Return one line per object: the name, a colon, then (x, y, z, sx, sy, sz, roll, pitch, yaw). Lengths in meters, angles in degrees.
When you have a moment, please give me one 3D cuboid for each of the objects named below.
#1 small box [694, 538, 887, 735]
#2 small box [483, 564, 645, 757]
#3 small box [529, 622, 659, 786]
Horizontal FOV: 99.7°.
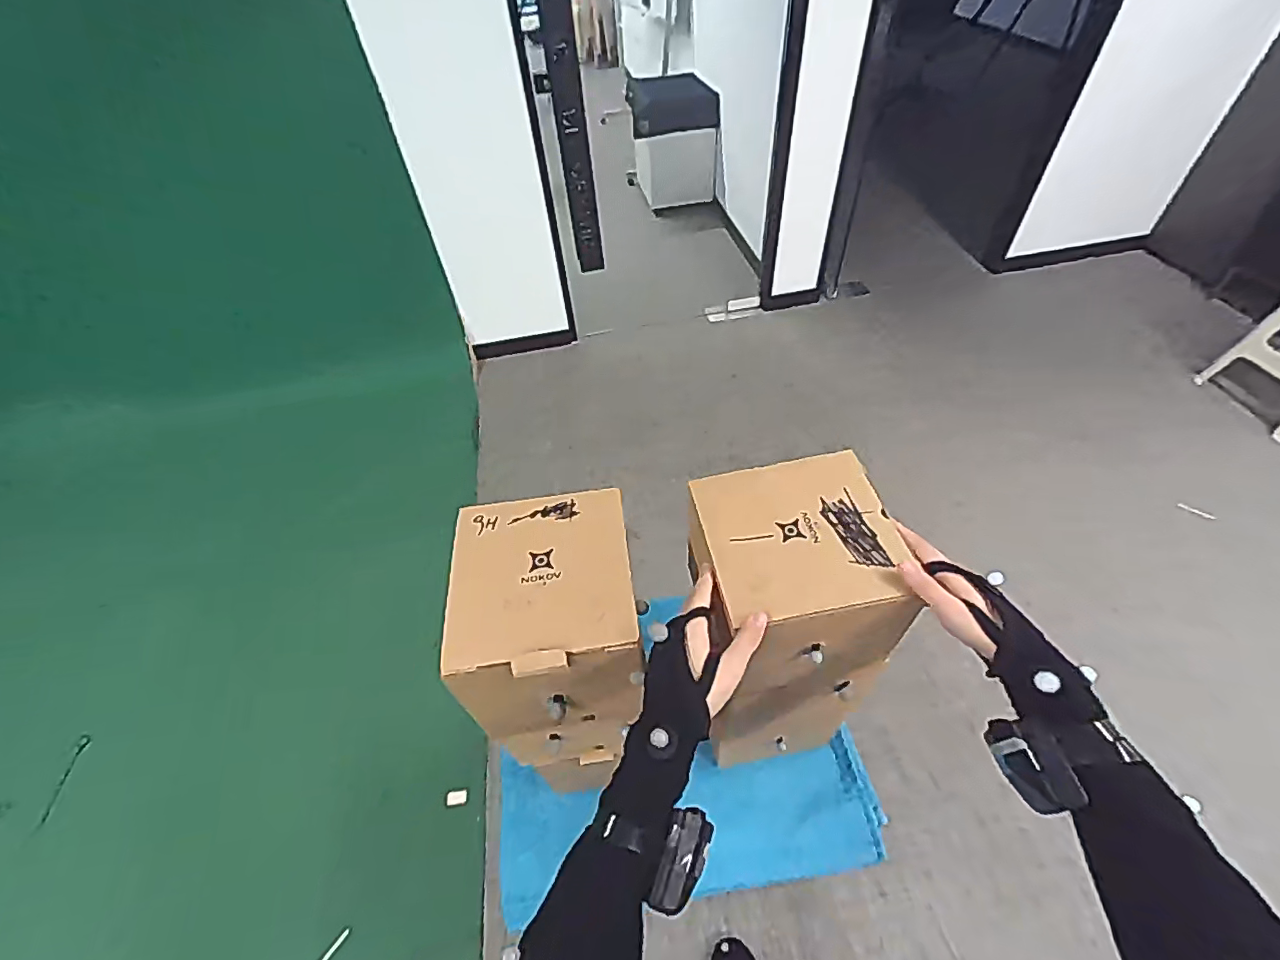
small box: (0.170, 0.199, 0.677, 0.179, 0.176, 0.168, -11, 49, -4)
small box: (-0.086, 0.231, 0.678, 0.168, 0.176, 0.179, -6, 48, -2)
small box: (-0.065, 0.336, 0.799, 0.168, 0.176, 0.179, -7, 48, -3)
